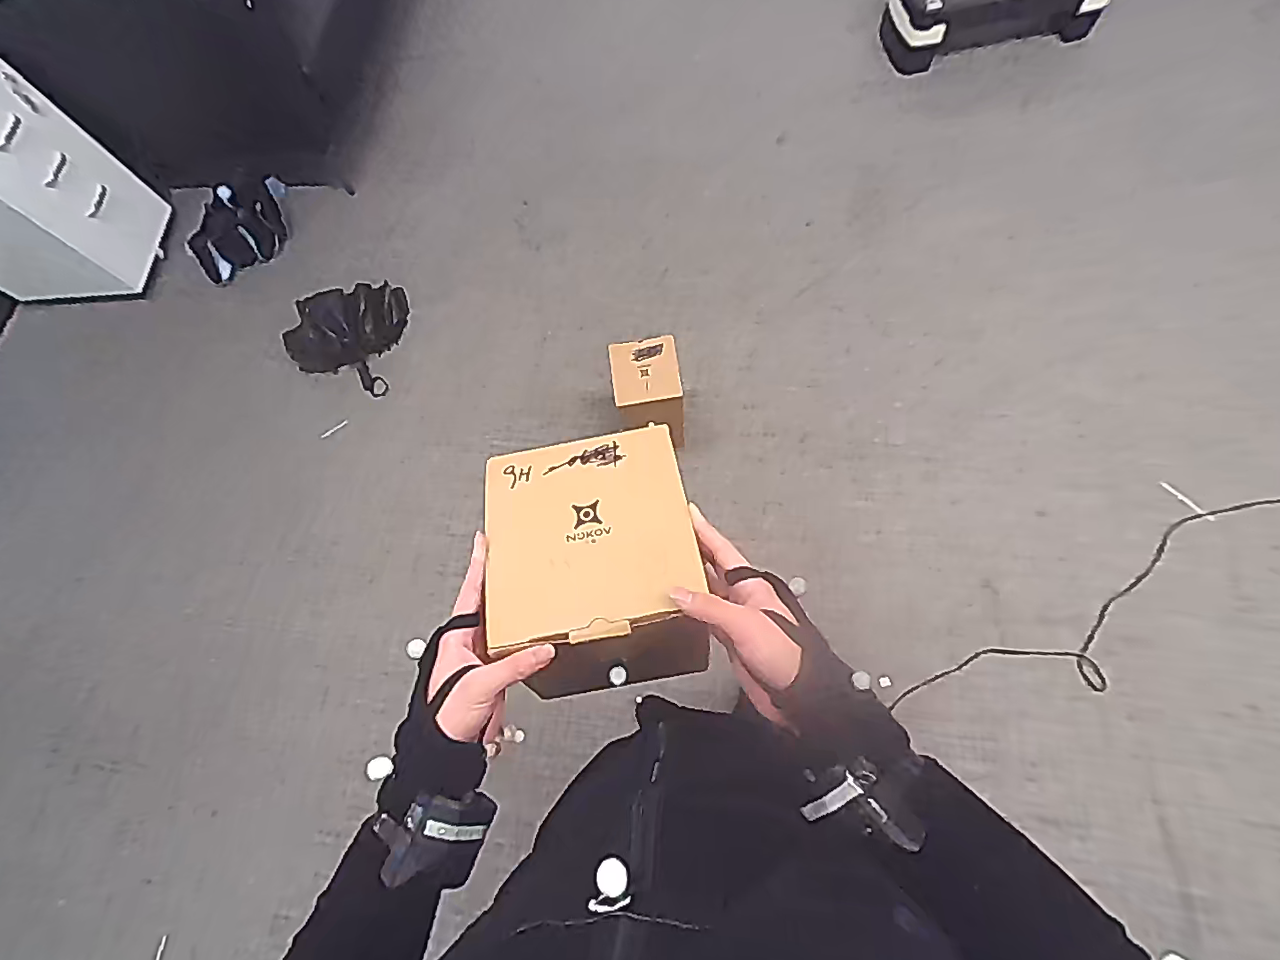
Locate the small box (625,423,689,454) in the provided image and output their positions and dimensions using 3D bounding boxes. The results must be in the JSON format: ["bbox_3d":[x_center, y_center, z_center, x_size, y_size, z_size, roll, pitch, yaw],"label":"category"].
[{"bbox_3d":[0.044,-0.184,1.540,0.168,0.176,0.179,-10,69,4],"label":"small box"}]

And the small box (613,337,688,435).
[{"bbox_3d":[0.029,-0.236,1.384,0.168,0.176,0.179,-9,71,4],"label":"small box"}]
